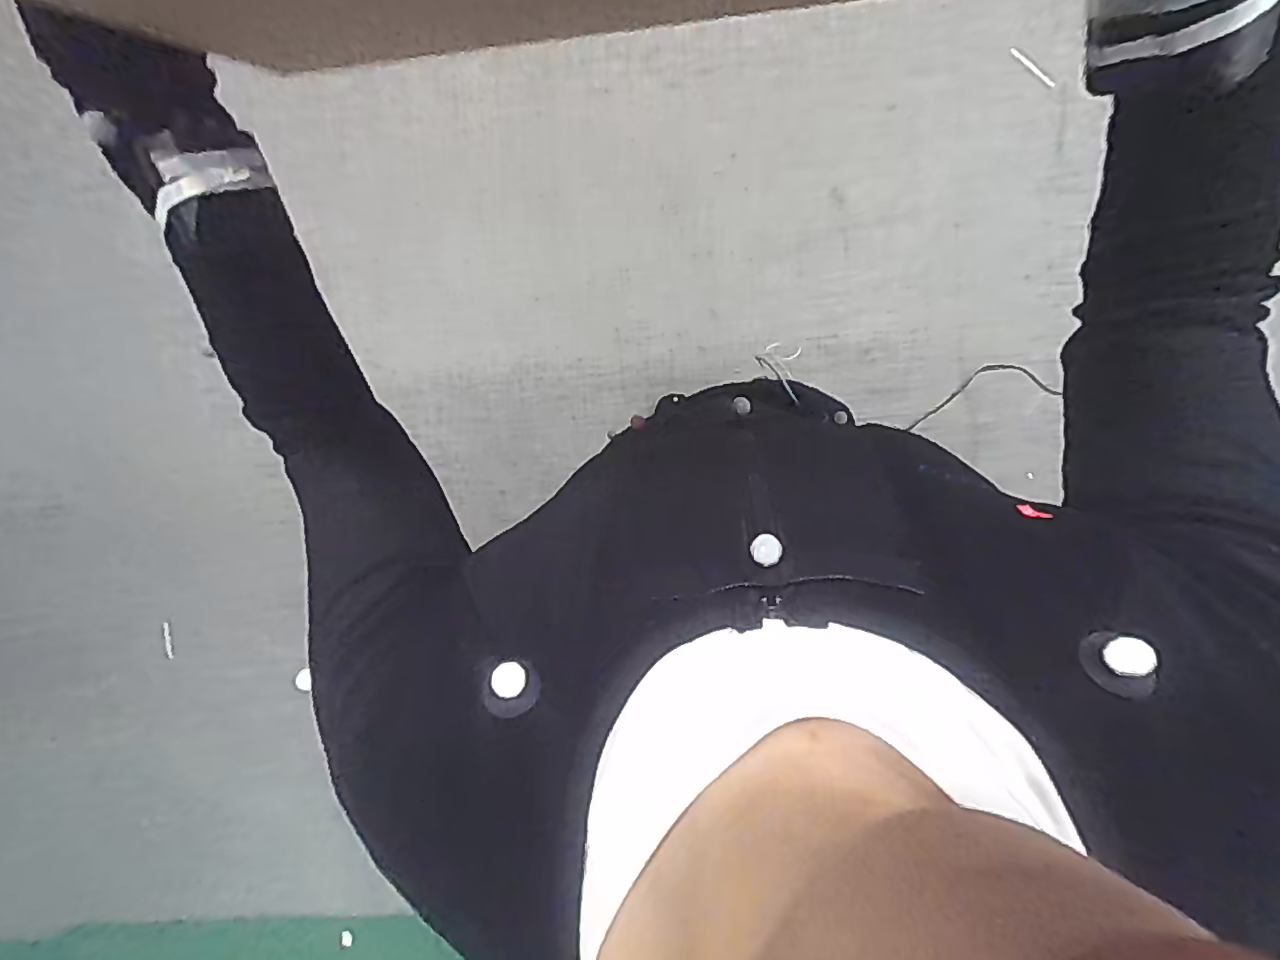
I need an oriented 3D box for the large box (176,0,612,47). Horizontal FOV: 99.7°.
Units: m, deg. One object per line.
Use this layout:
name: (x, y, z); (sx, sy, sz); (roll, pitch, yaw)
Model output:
large box: (-0.058, -0.344, 0.113); (0.408, 0.320, 0.320); (0, 117, 8)
